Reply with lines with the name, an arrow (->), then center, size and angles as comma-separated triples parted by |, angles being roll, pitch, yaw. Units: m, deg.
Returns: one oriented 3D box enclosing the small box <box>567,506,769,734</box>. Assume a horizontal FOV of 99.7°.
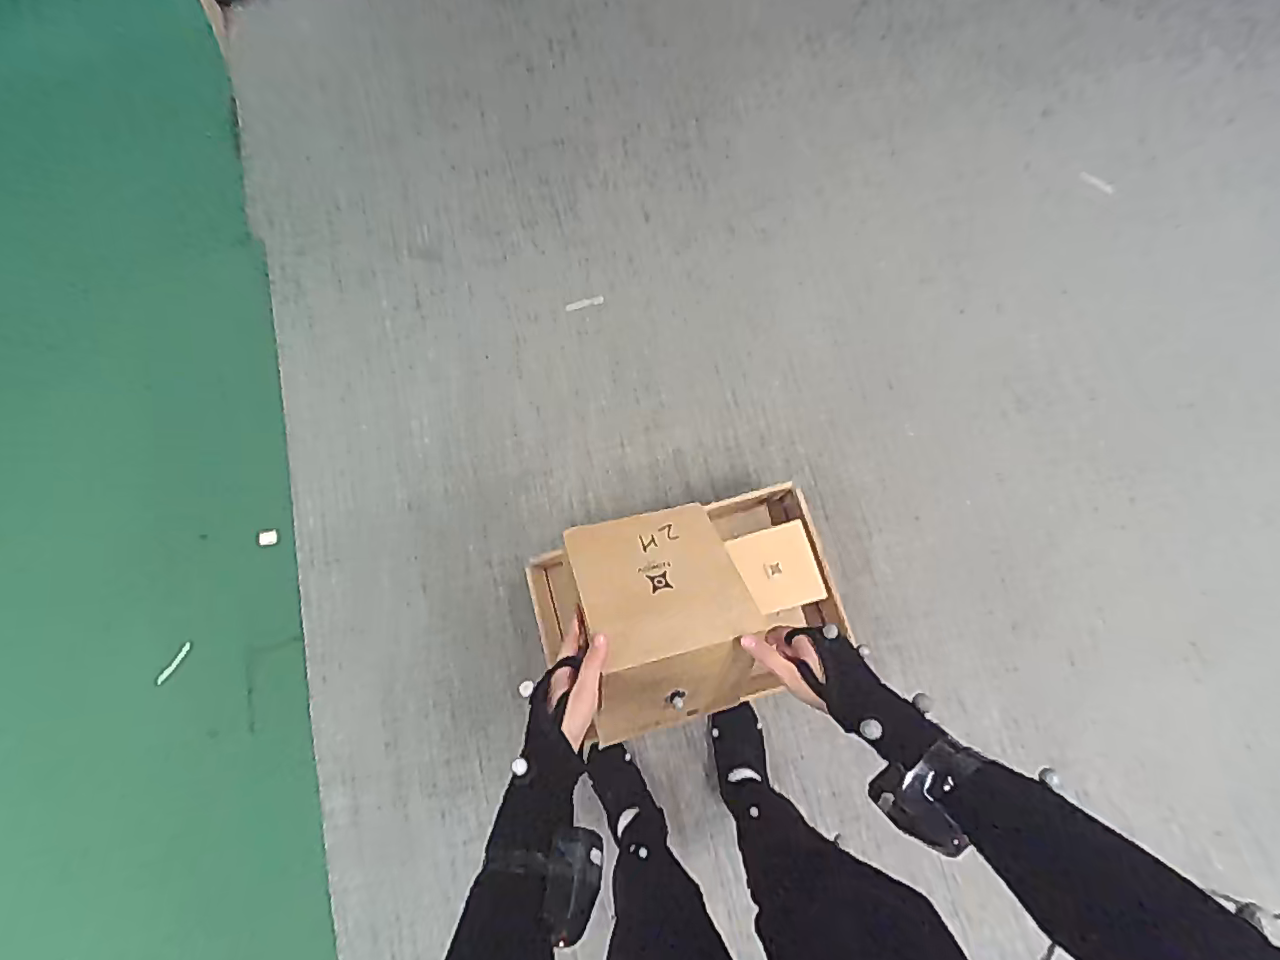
small box -> 0.020, 0.159, 0.603 | 0.168, 0.176, 0.179 | -10, 46, -14
